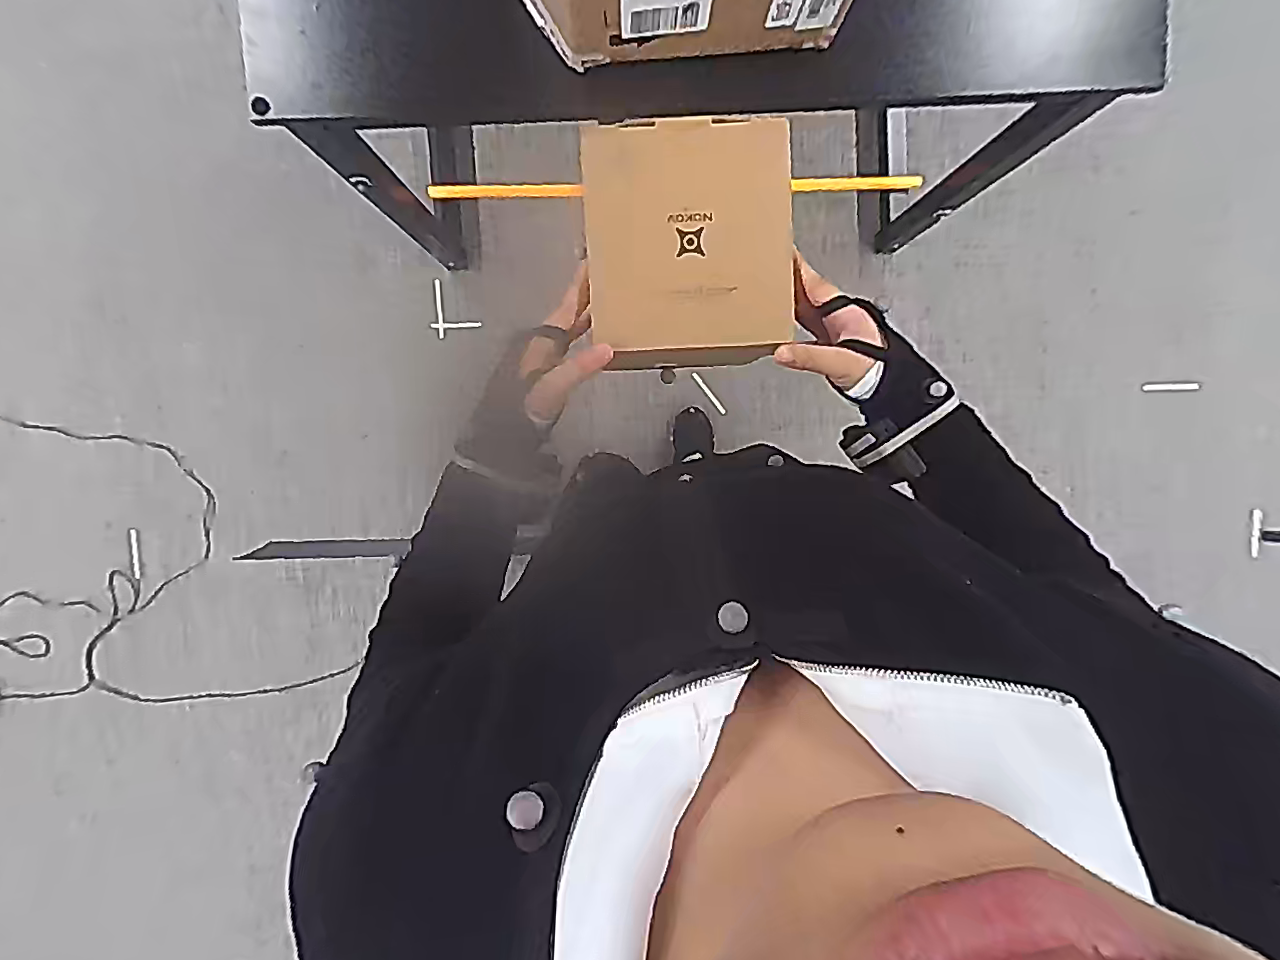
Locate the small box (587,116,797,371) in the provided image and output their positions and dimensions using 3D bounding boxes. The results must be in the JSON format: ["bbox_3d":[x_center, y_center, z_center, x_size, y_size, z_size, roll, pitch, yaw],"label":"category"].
[{"bbox_3d":[0.039,-0.203,0.508,0.168,0.176,0.179,-4,96,-1],"label":"small box"}]
